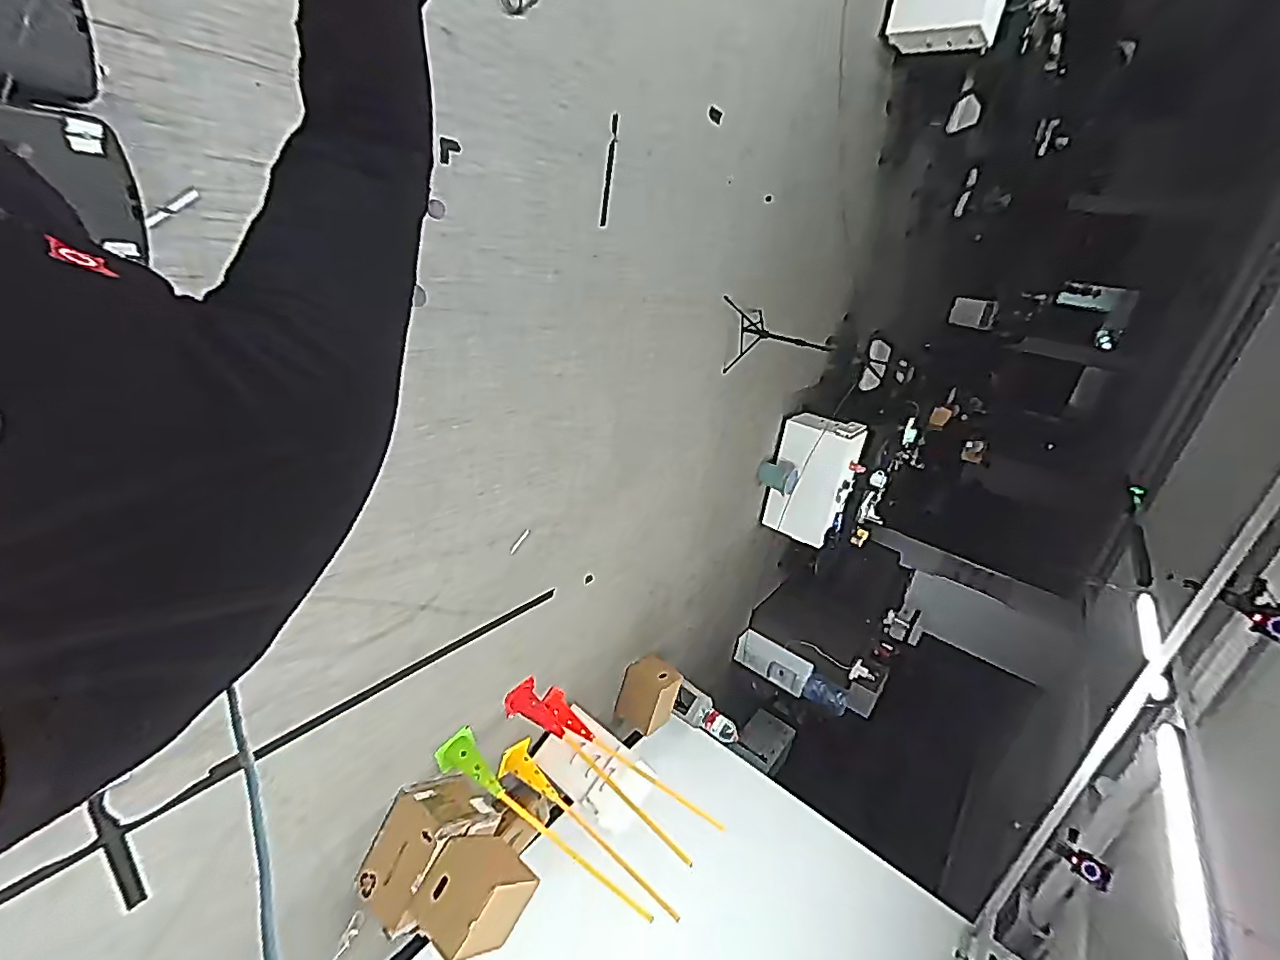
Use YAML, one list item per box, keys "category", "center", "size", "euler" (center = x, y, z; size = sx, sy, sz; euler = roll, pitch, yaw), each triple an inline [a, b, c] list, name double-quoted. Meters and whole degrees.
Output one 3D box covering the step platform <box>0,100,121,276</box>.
- category: "step platform"
  center: [-1.280, -0.473, 0.837]
  size: [0.684, 0.204, 0.286]
  euler: [-23, 128, -46]
